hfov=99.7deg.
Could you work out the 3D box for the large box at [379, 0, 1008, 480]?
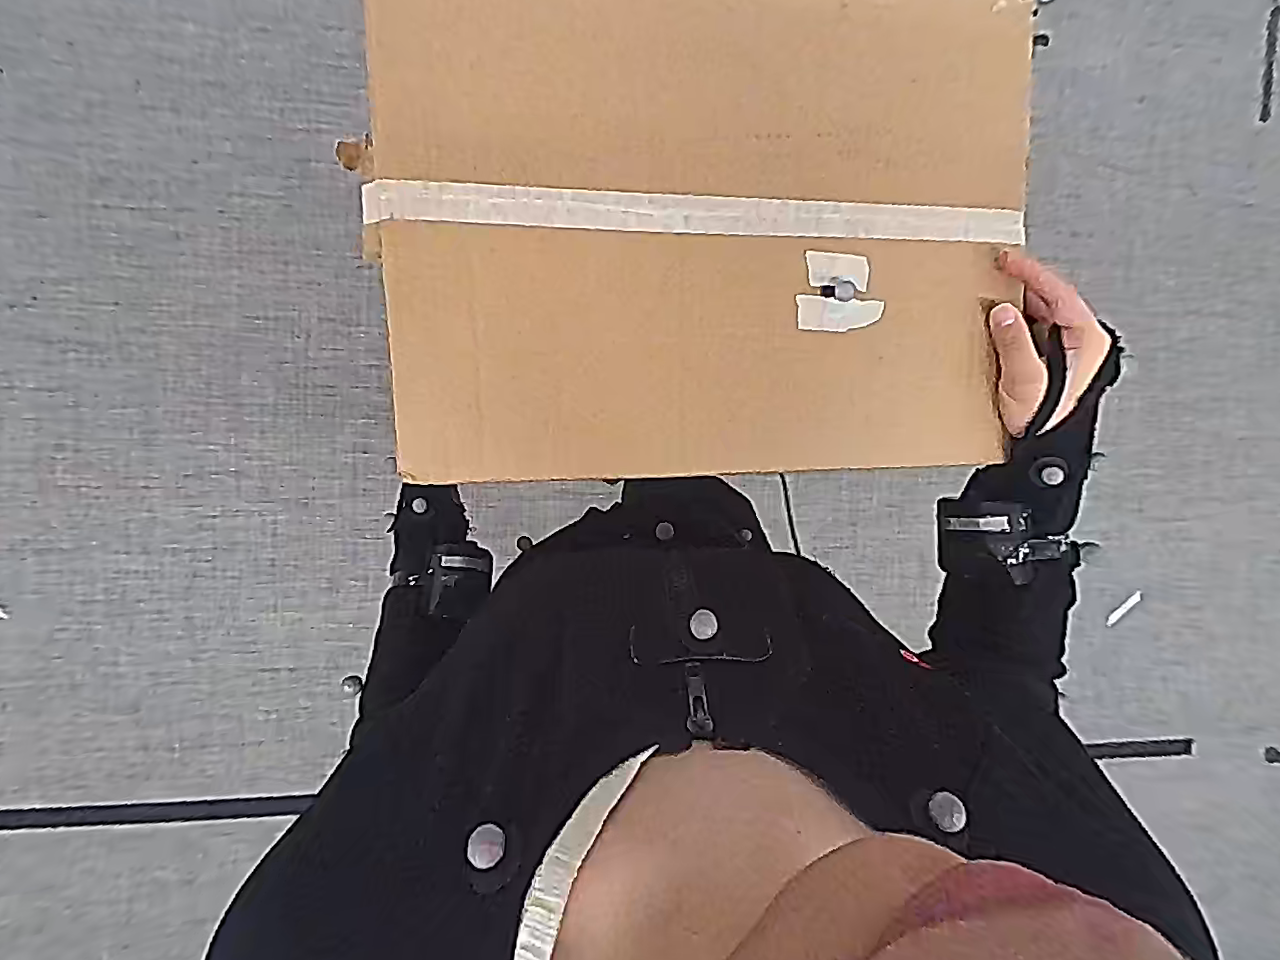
[{"bbox_3d":[0.027,-0.178,0.487,0.408,0.320,0.320,-3,97,-11],"label":"large box"}]
